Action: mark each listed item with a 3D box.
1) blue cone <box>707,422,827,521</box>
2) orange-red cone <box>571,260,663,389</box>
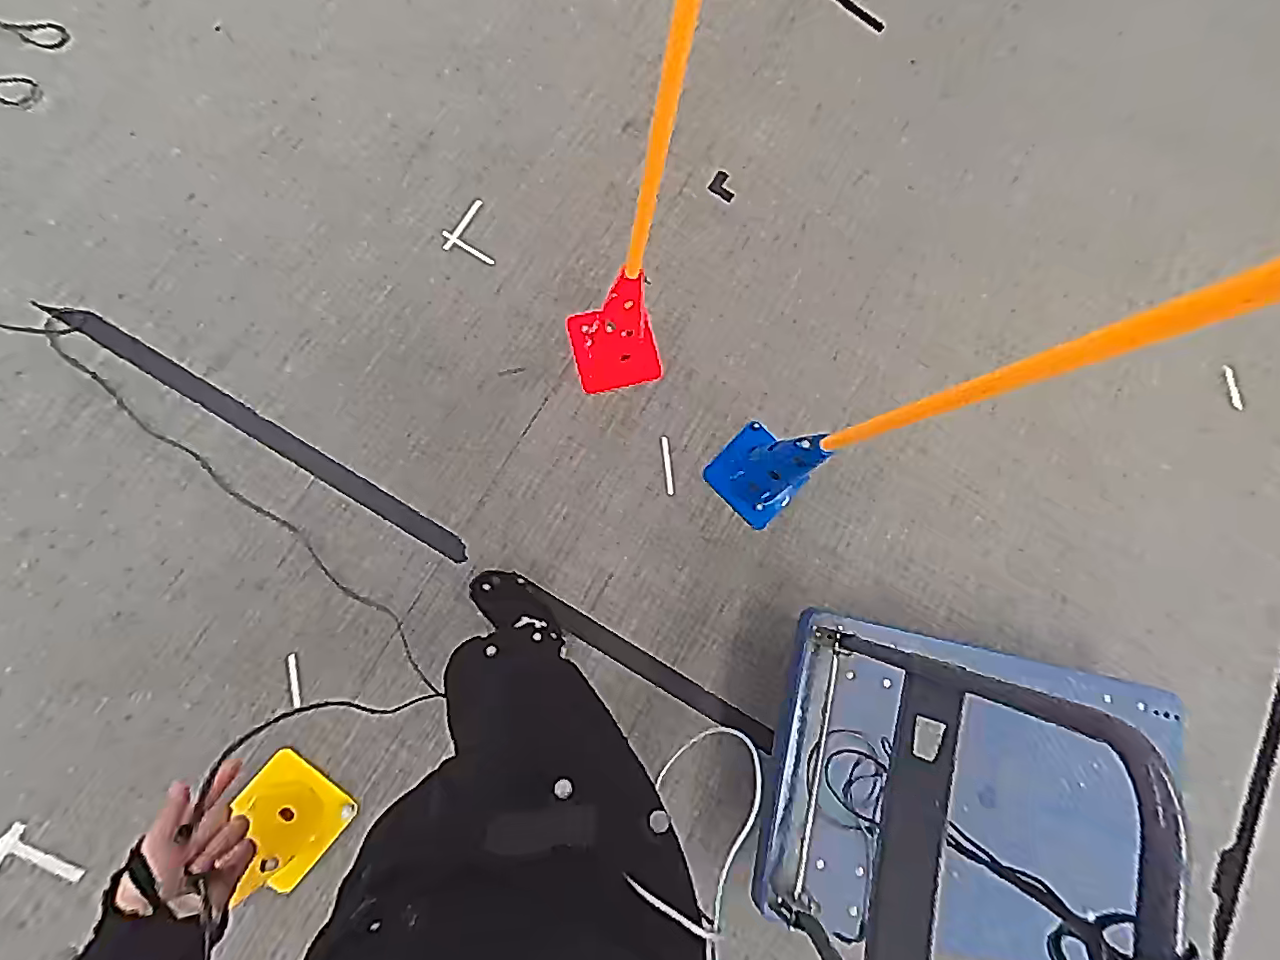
[{"bbox_3d":[0.296,-0.044,1.129,0.193,0.380,0.192,-43,88,-11],"label":"blue cone"},{"bbox_3d":[-0.032,-0.343,1.114,0.198,0.360,0.199,-12,85,-9],"label":"orange-red cone"}]
